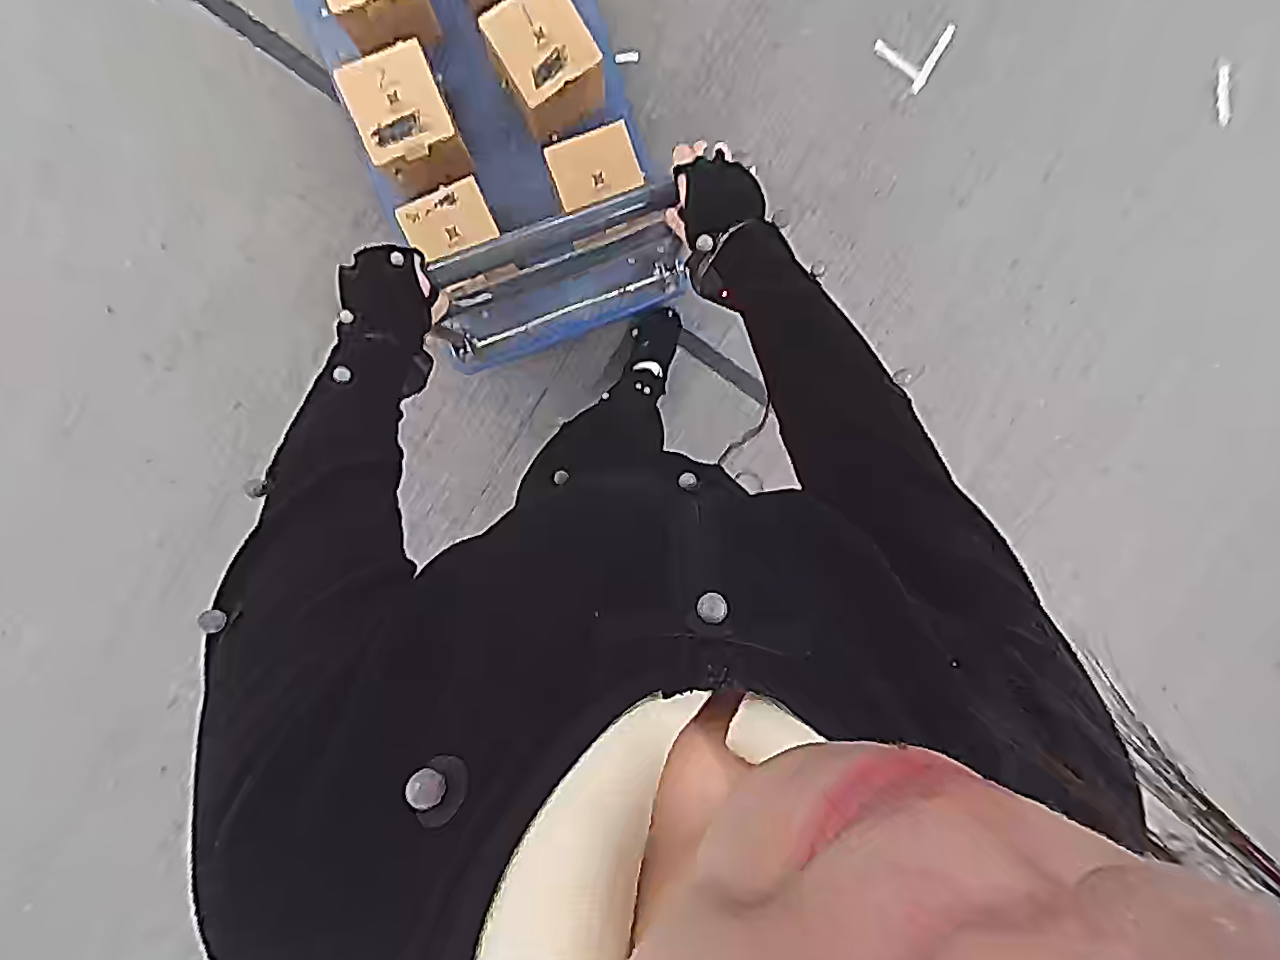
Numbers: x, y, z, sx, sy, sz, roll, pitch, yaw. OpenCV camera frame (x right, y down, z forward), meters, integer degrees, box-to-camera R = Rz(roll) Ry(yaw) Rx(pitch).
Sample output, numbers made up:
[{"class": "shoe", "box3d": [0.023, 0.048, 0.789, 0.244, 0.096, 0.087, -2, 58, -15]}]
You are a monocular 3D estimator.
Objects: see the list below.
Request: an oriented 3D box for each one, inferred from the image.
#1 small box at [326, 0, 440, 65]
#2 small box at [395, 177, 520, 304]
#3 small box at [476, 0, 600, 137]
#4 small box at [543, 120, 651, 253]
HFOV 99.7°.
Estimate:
[{"class": "small box", "box3d": [-0.505, -0.946, 1.022, 0.168, 0.176, 0.179, -19, 101, -1]}, {"class": "small box", "box3d": [-0.362, -0.476, 1.111, 0.168, 0.176, 0.179, -25, 101, -2]}, {"class": "small box", "box3d": [-0.190, -0.821, 1.069, 0.168, 0.176, 0.179, -33, 100, 1]}, {"class": "small box", "box3d": [-0.086, -0.589, 1.116, 0.168, 0.176, 0.179, -21, 100, -2]}]
